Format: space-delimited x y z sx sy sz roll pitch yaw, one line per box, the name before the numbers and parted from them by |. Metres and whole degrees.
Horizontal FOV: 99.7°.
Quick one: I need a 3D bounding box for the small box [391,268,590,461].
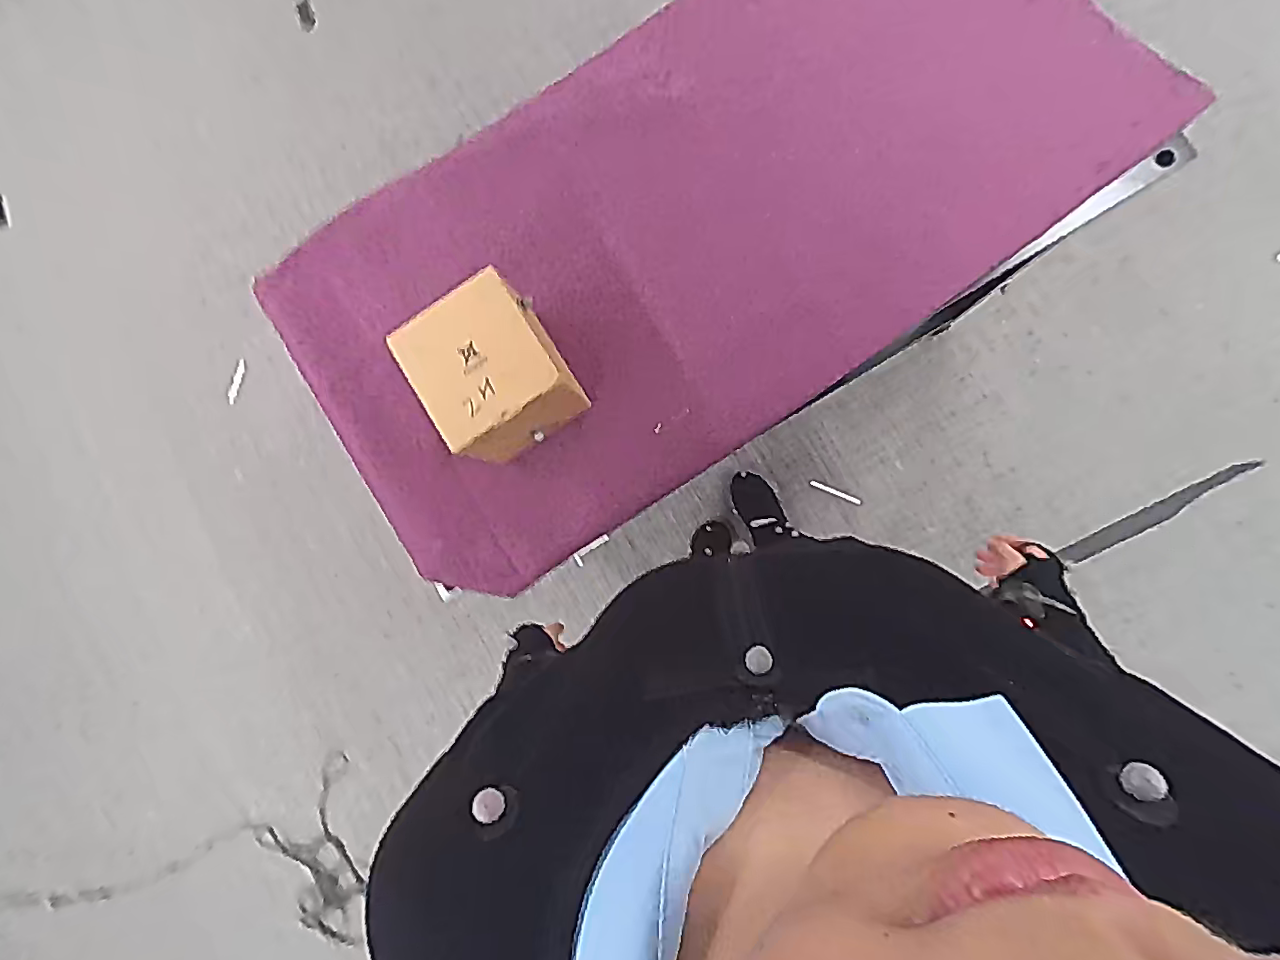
small box | -0.190 -0.142 0.736 0.168 0.176 0.179 -33 84 5
